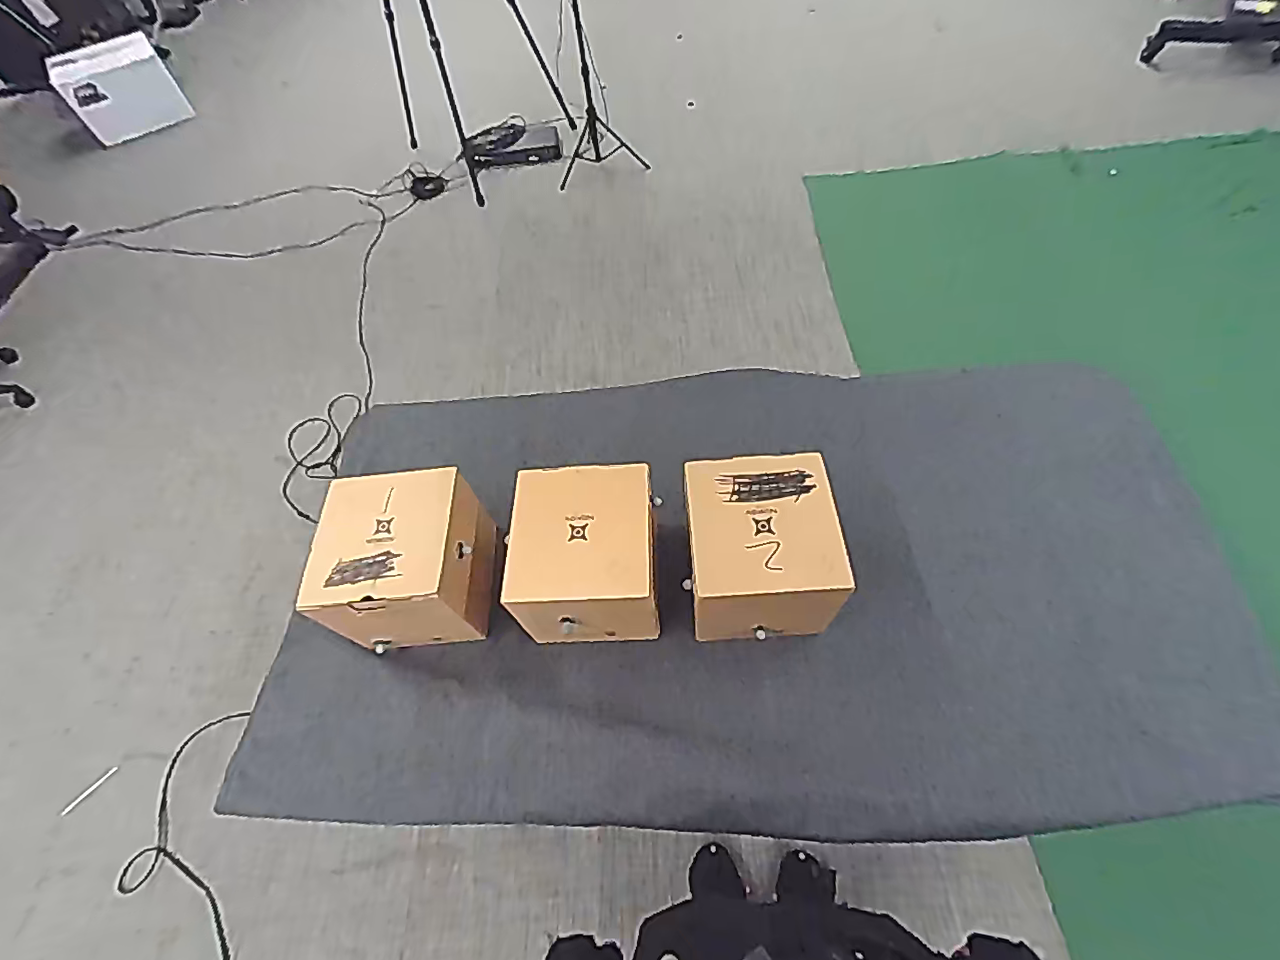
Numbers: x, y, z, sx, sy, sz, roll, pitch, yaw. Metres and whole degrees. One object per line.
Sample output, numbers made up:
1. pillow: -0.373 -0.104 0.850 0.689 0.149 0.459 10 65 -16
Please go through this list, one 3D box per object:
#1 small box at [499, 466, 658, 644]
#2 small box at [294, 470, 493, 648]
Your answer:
1. small box: -0.065 0.104 0.687 0.168 0.176 0.179 -3 56 4
2. small box: -0.300 0.111 0.705 0.168 0.176 0.179 -6 56 2
